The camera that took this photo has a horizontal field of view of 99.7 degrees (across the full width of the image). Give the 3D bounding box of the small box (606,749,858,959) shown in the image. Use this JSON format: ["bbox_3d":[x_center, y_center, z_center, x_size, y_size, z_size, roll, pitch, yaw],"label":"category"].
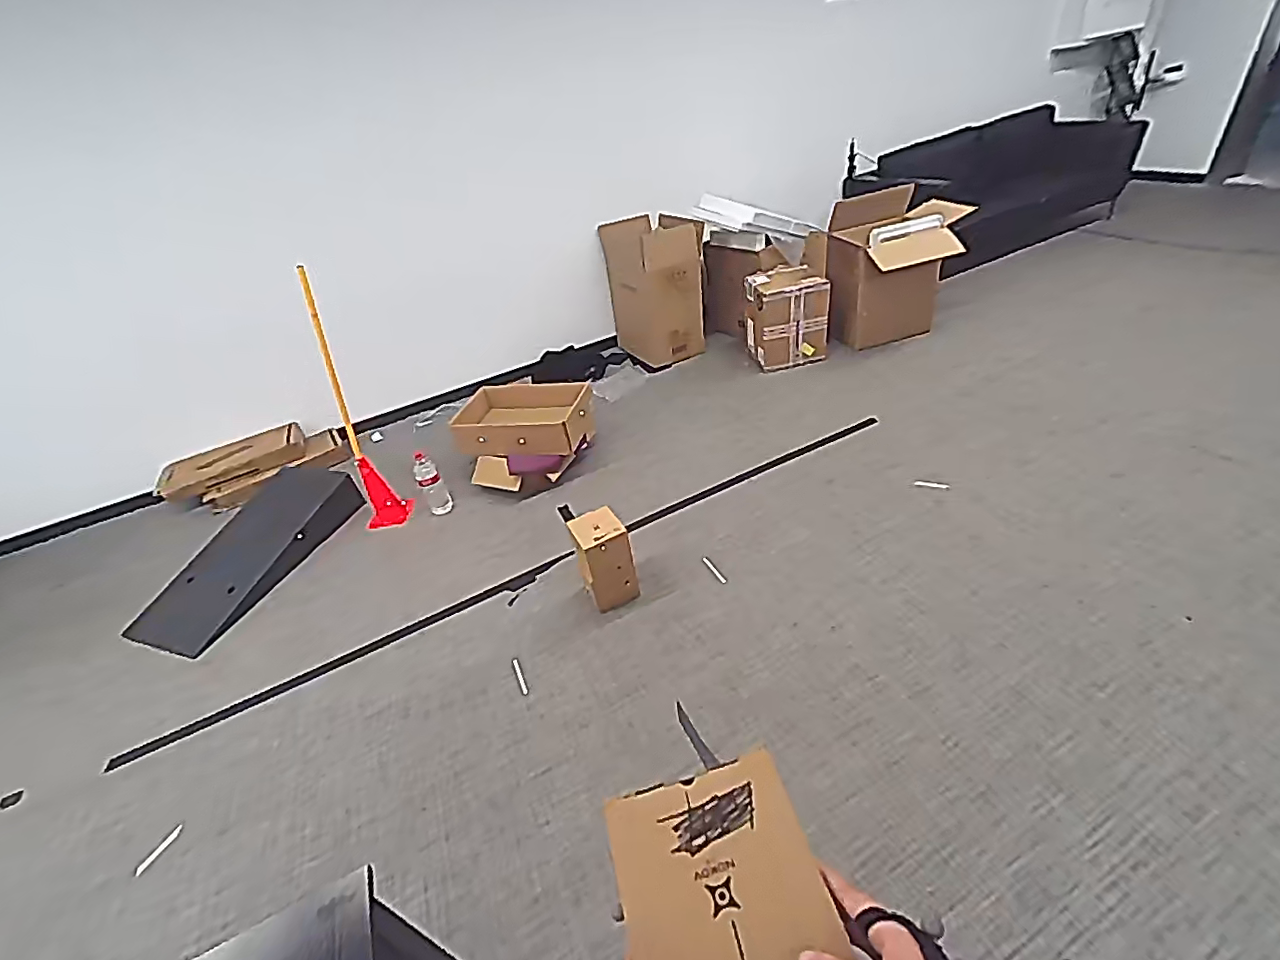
[{"bbox_3d":[0.074,0.391,0.499,0.168,0.176,0.179,-15,41,-7],"label":"small box"}]

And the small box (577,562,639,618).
[{"bbox_3d":[-0.115,0.380,2.031,0.179,0.176,0.168,-23,36,-15],"label":"small box"}]

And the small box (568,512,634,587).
[{"bbox_3d":[-0.138,0.248,1.936,0.168,0.176,0.179,-24,36,-17],"label":"small box"}]
